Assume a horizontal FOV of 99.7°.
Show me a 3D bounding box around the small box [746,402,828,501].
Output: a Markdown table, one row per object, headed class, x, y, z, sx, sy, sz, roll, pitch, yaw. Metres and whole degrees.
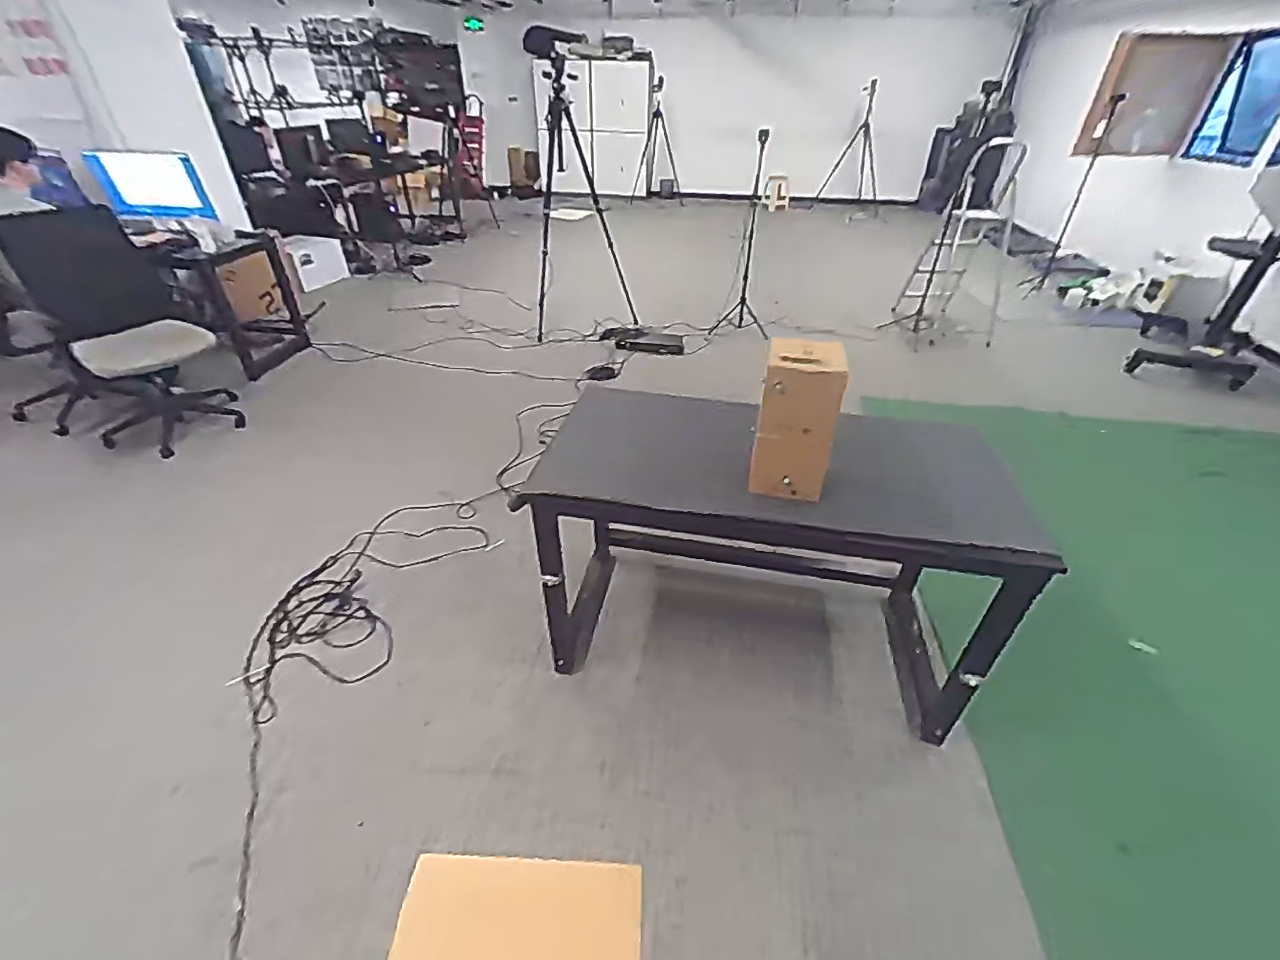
| class | x | y | z | sx | sy | sz | roll | pitch | yaw |
| --- | --- | --- | --- | --- | --- | --- | --- | --- | --- |
| small box | 0.356 | -0.071 | 1.327 | 0.168 | 0.176 | 0.179 | 7 | 35 | 10 |
